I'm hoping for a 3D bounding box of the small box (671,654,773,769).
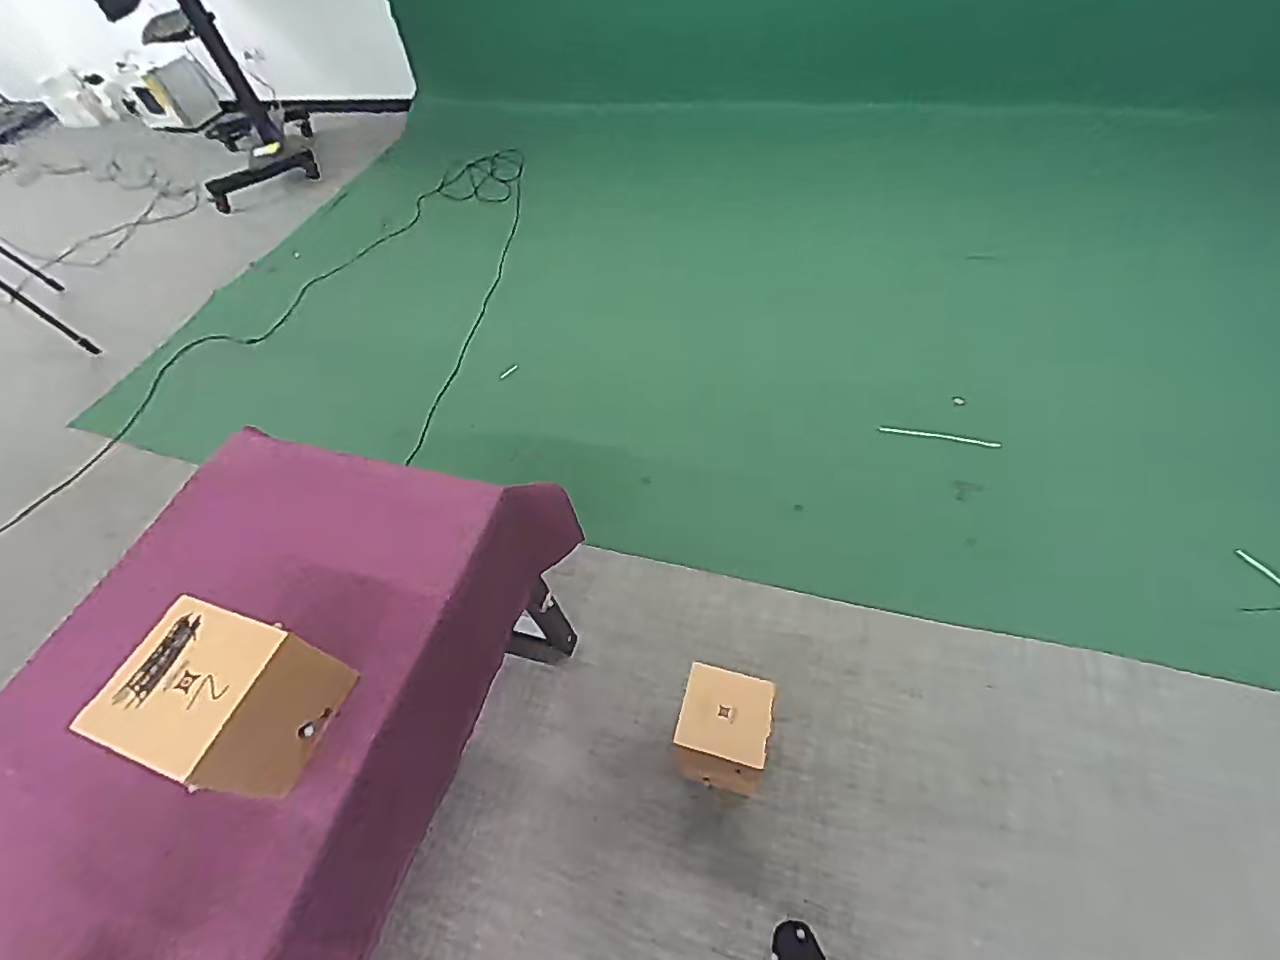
[{"bbox_3d":[0.172,0.491,1.136,0.179,0.176,0.168,11,56,15],"label":"small box"}]

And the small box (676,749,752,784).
[{"bbox_3d":[0.187,0.591,1.264,0.168,0.176,0.179,9,56,13],"label":"small box"}]
